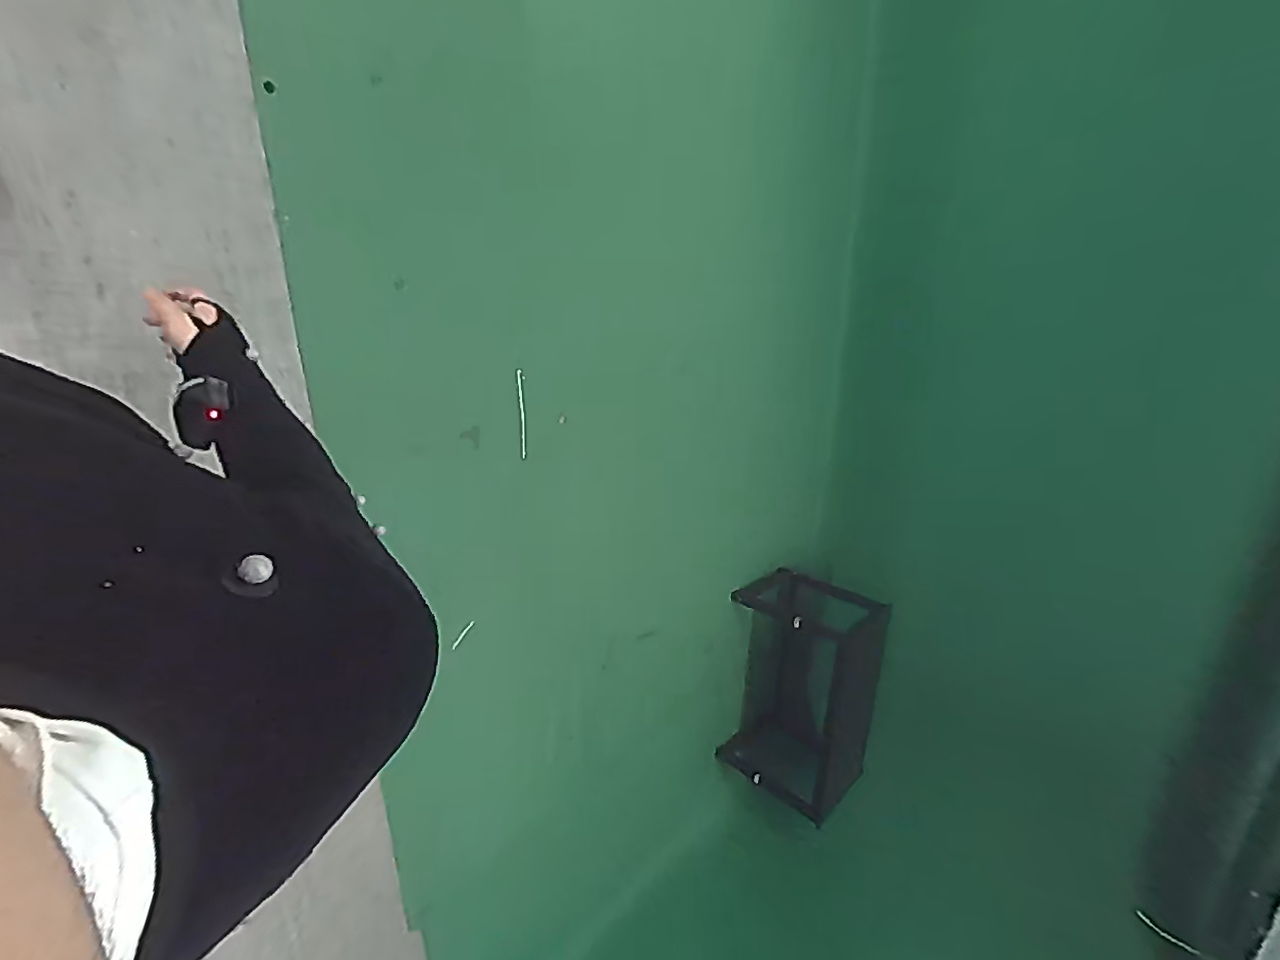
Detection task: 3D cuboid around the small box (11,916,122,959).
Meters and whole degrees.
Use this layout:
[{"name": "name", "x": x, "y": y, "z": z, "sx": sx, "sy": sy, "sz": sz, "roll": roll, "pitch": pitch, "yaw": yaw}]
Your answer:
[{"name": "small box", "x": -1.346, "y": 1.186, "z": 1.263, "sx": 0.168, "sy": 0.176, "sz": 0.179, "roll": -25, "pitch": 121, "yaw": -39}]
